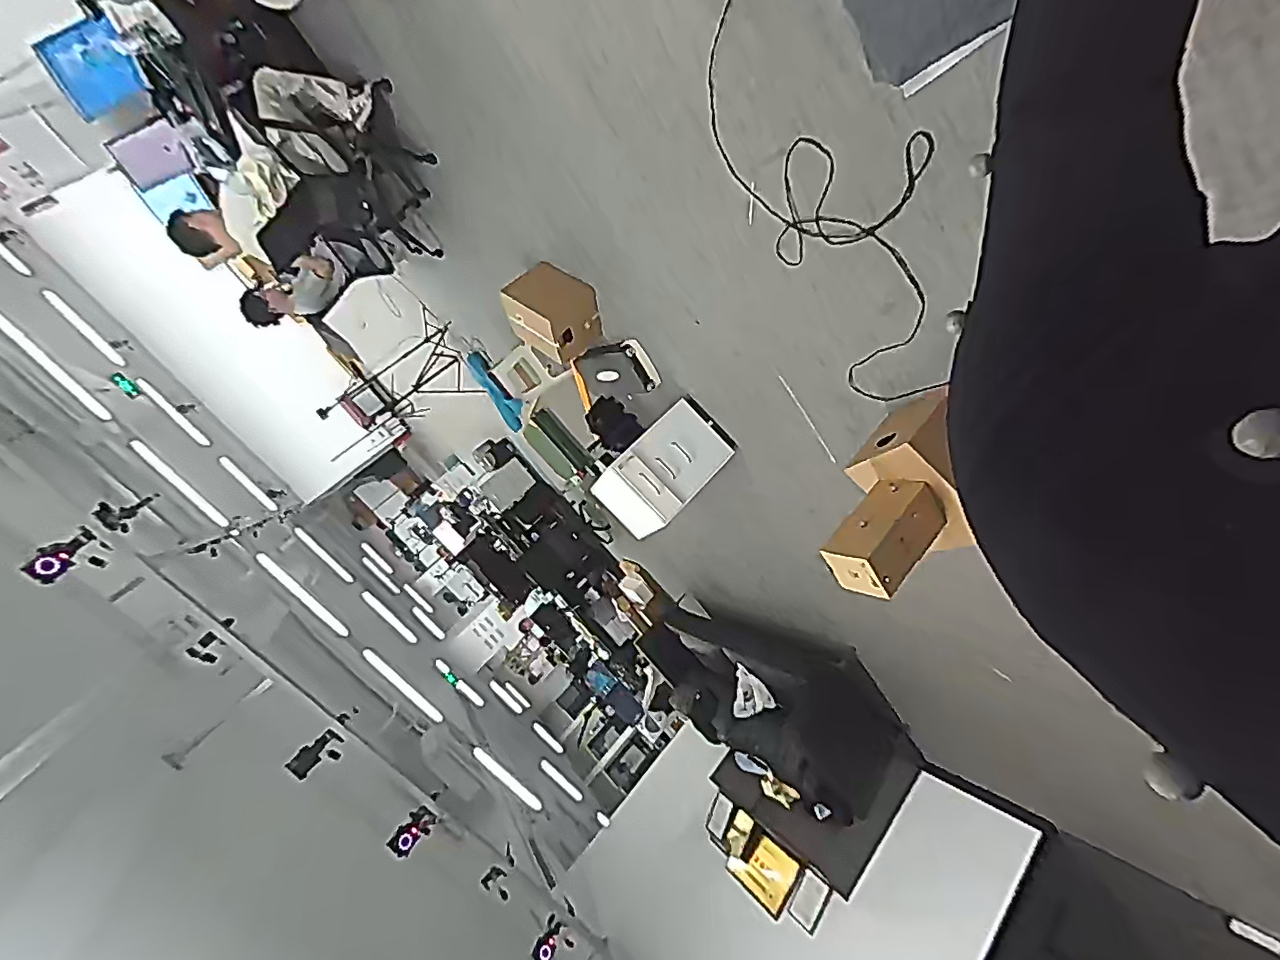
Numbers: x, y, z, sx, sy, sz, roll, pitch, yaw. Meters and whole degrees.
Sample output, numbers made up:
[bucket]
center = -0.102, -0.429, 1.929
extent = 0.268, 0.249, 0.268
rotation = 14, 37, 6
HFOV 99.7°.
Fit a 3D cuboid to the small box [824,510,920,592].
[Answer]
[small box]
center = 0.702, 0.207, 1.633
extent = 0.168, 0.176, 0.179
rotation = 52, 160, -20
